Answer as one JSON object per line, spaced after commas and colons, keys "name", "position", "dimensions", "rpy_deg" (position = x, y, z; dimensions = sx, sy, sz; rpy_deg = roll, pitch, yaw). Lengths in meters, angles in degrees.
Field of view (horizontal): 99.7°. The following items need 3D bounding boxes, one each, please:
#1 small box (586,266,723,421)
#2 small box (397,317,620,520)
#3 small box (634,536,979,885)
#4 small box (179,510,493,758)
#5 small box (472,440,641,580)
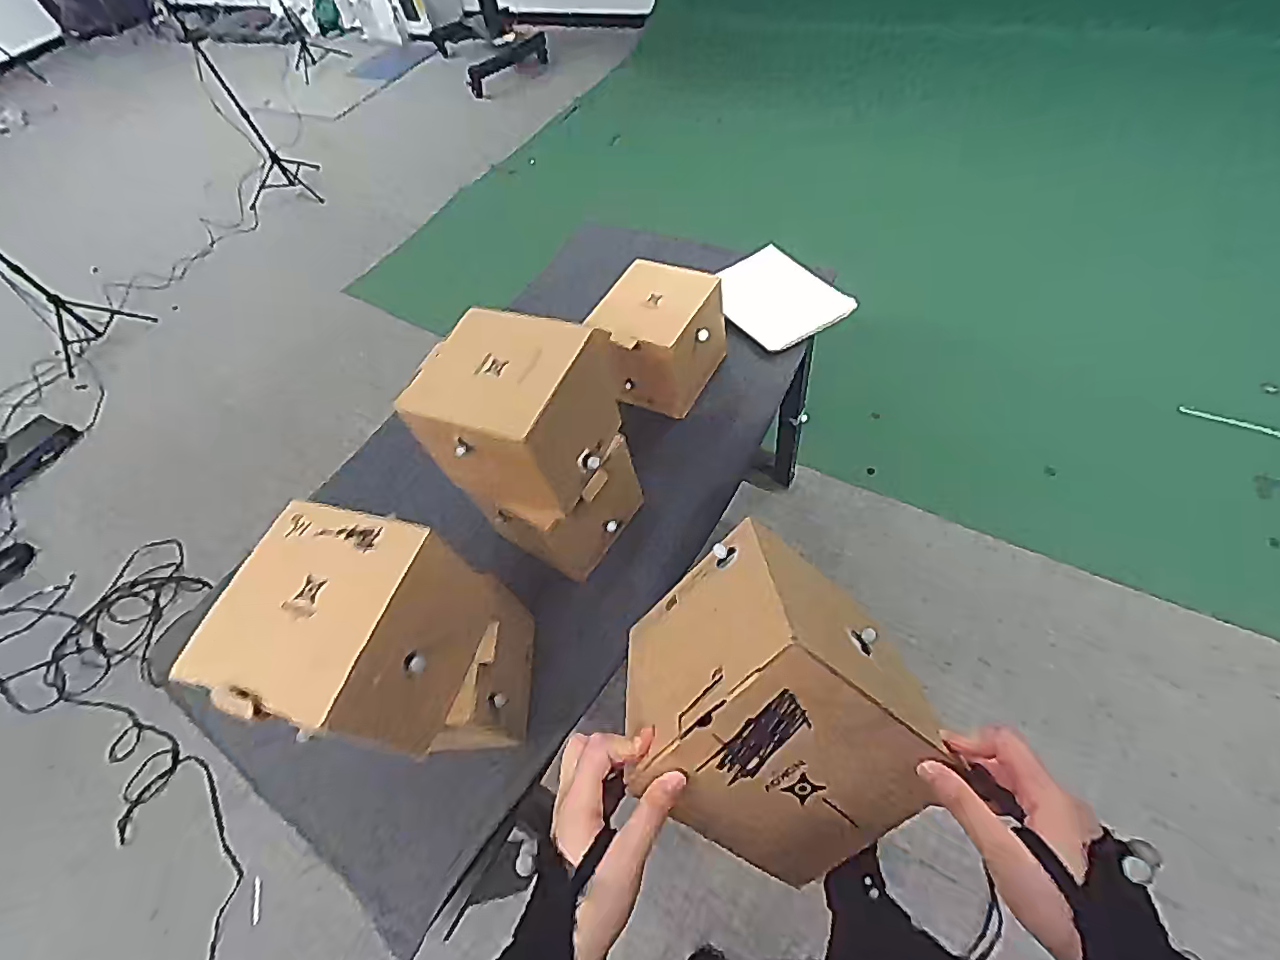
{"name": "small box", "position": [0.035, -0.234, 0.934], "dimensions": [0.168, 0.176, 0.179], "rpy_deg": [21, 64, 24]}
{"name": "small box", "position": [-0.144, -0.071, 0.661], "dimensions": [0.179, 0.176, 0.168], "rpy_deg": [14, 61, 20]}
{"name": "small box", "position": [0.113, 0.169, 0.441], "dimensions": [0.168, 0.179, 0.176], "rpy_deg": [-50, 14, 19]}
{"name": "small box", "position": [-0.271, 0.155, 0.532], "dimensions": [0.168, 0.176, 0.179], "rpy_deg": [9, 60, 17]}
{"name": "small box", "position": [-0.120, 0.021, 0.793], "dimensions": [0.179, 0.176, 0.168], "rpy_deg": [26, 66, 25]}
